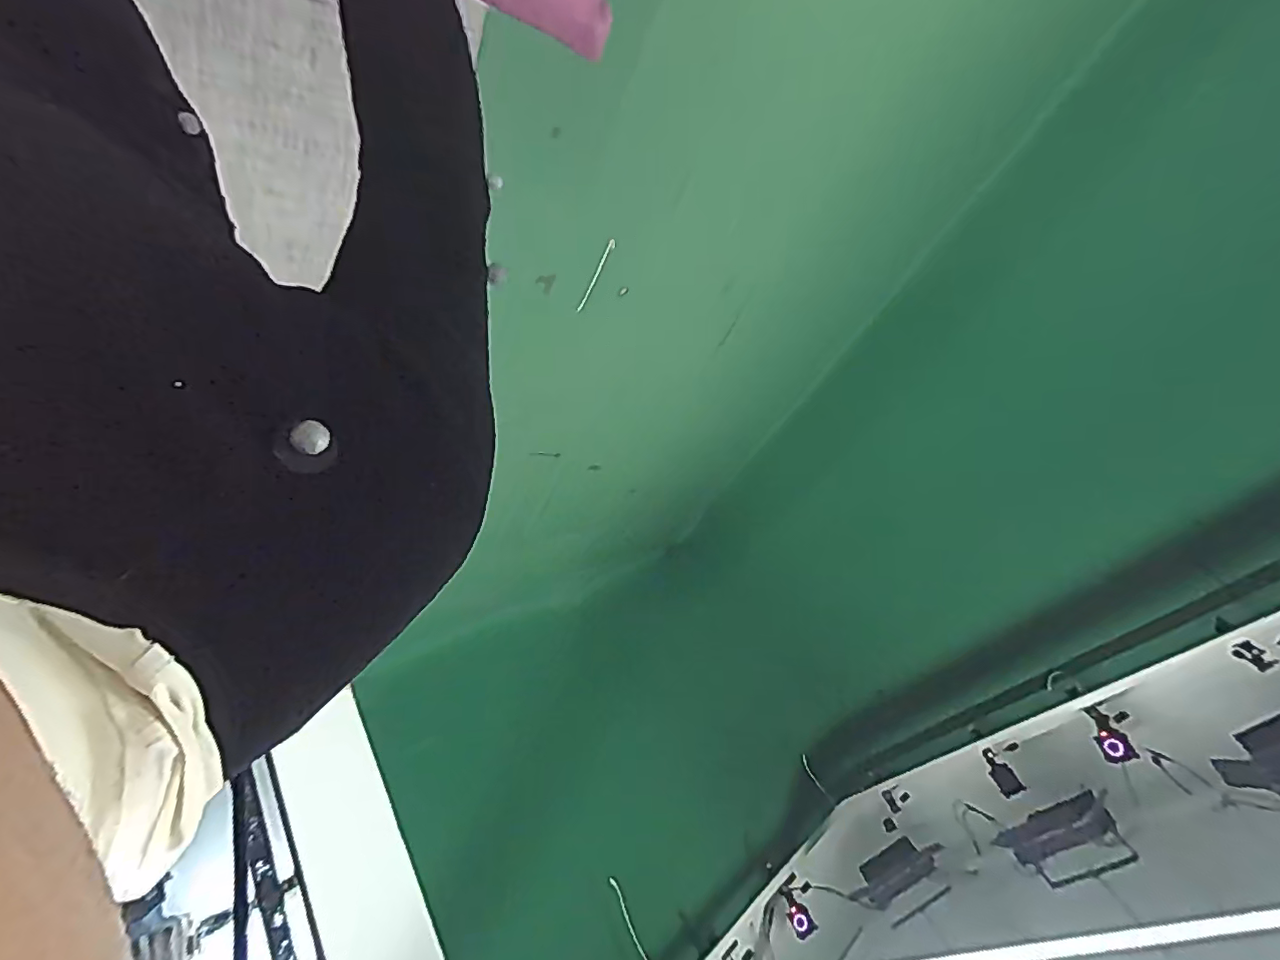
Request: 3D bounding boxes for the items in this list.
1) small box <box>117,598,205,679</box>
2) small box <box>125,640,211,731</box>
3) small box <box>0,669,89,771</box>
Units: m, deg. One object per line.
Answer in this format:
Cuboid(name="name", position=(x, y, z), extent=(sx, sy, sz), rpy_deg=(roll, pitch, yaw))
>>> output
Cuboid(name="small box", position=(-1.497, 0.488, 1.688), extent=(0.179, 0.176, 0.168), rpy_deg=(-3, 140, -50))
Cuboid(name="small box", position=(-1.413, 0.607, 1.614), extent=(0.168, 0.176, 0.179), rpy_deg=(-2, 139, -50))
Cuboid(name="small box", position=(-1.574, 0.617, 1.415), extent=(0.168, 0.176, 0.179), rpy_deg=(-4, 142, -49))
